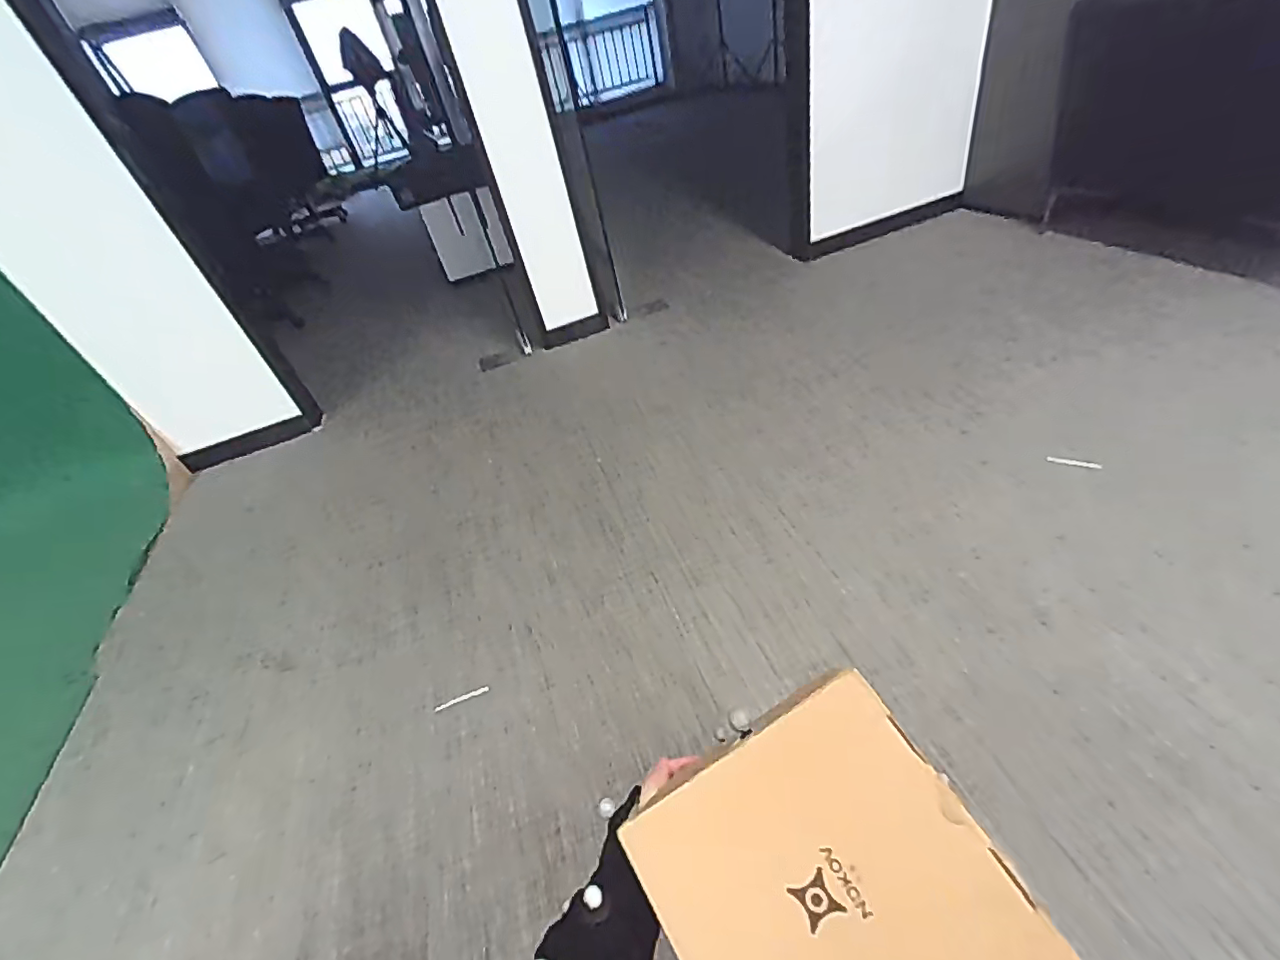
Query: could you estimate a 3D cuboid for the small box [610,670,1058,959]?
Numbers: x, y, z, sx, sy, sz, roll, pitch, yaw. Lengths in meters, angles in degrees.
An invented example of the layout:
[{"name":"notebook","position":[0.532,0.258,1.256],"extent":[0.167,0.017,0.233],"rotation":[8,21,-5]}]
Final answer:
[{"name":"small box","position":[0.112,0.246,0.358],"extent":[0.179,0.176,0.168],"rotation":[-35,66,2]}]
